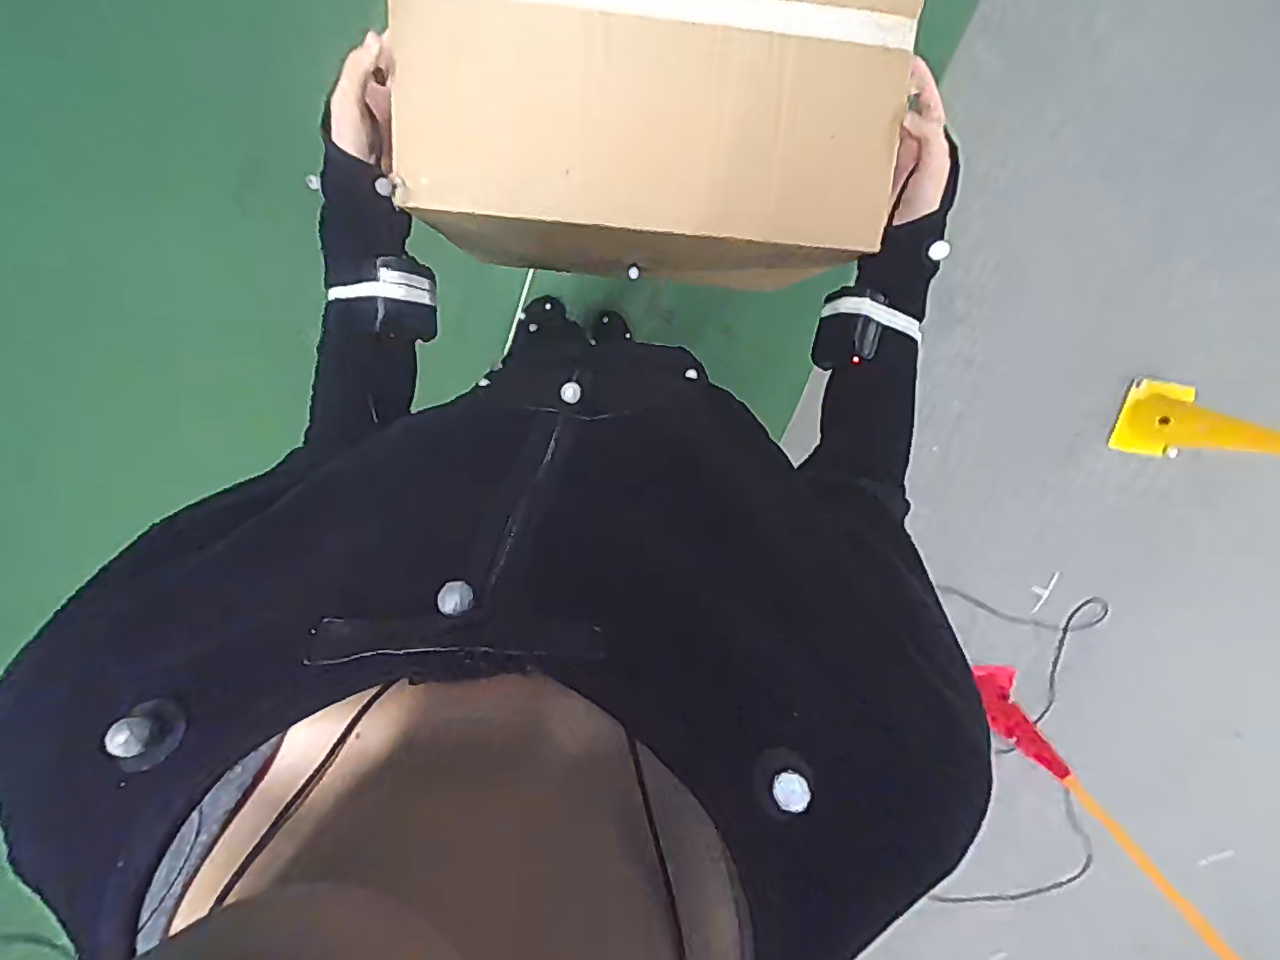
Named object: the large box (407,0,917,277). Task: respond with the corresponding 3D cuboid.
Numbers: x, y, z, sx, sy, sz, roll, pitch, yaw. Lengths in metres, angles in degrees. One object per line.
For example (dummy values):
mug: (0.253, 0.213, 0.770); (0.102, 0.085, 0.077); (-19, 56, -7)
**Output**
large box: (0.014, -0.403, 0.567); (0.408, 0.320, 0.320); (4, 103, -4)
